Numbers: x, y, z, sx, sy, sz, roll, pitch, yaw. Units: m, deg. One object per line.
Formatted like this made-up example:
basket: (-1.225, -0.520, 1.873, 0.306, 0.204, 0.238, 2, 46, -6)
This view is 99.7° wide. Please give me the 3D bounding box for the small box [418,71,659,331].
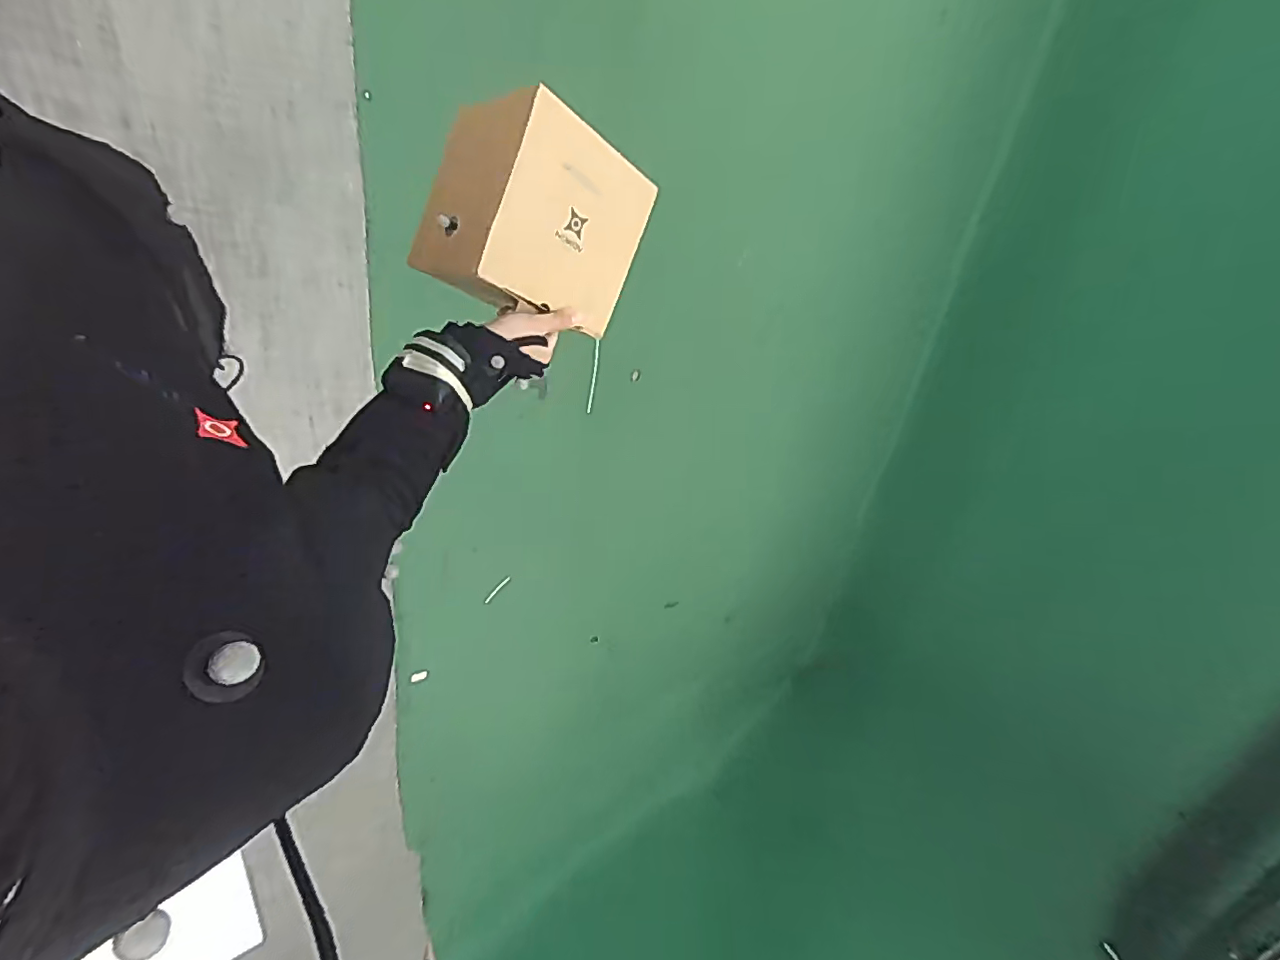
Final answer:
small box: (-0.115, -0.282, 0.582, 0.168, 0.176, 0.179, 13, 99, -48)
